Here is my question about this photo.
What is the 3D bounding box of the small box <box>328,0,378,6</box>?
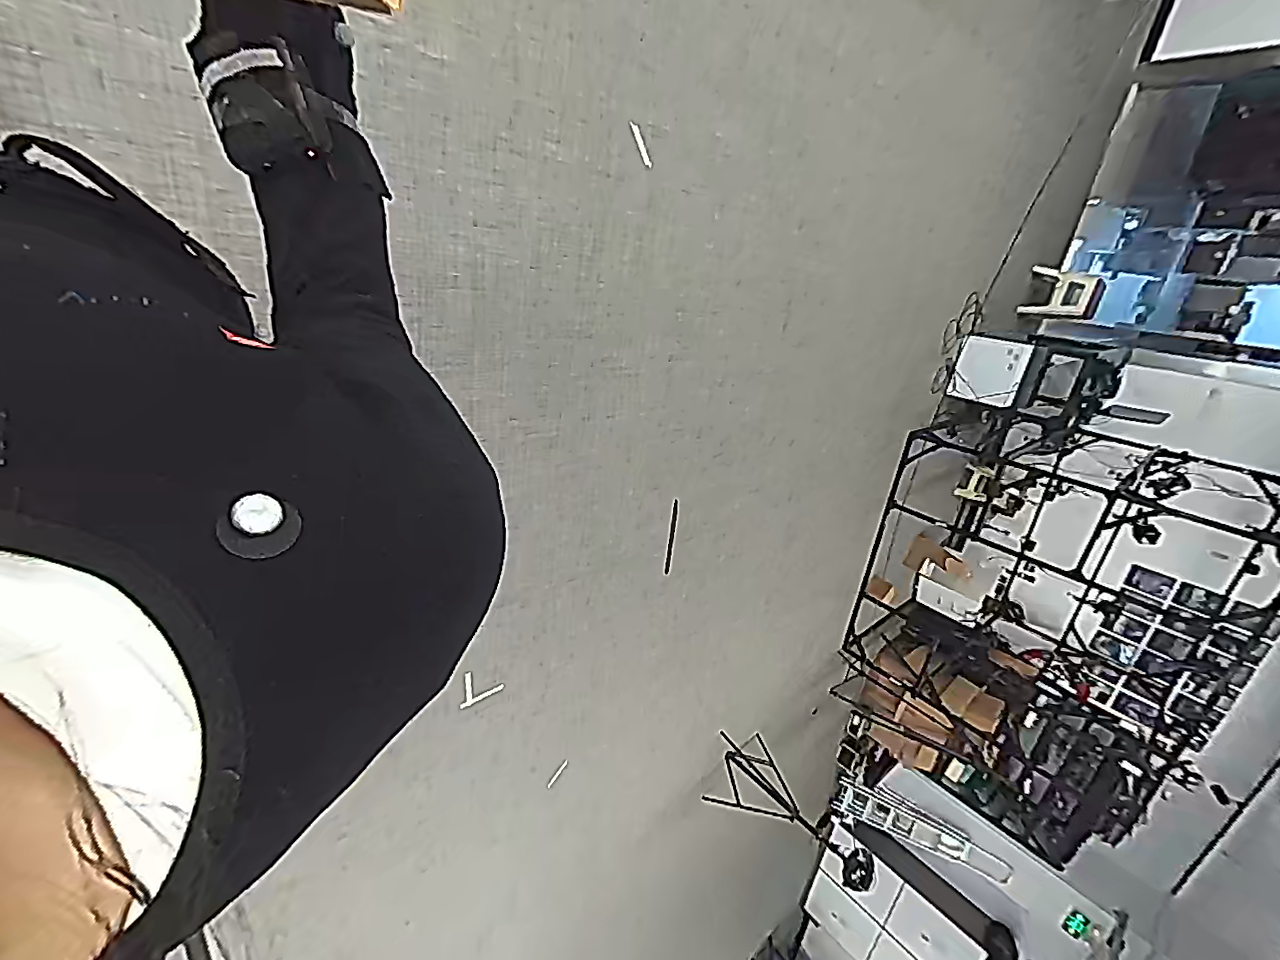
[{"bbox_3d":[-0.192,-0.321,0.182,0.176,0.168,0.179,-8,123,-62],"label":"small box"}]
